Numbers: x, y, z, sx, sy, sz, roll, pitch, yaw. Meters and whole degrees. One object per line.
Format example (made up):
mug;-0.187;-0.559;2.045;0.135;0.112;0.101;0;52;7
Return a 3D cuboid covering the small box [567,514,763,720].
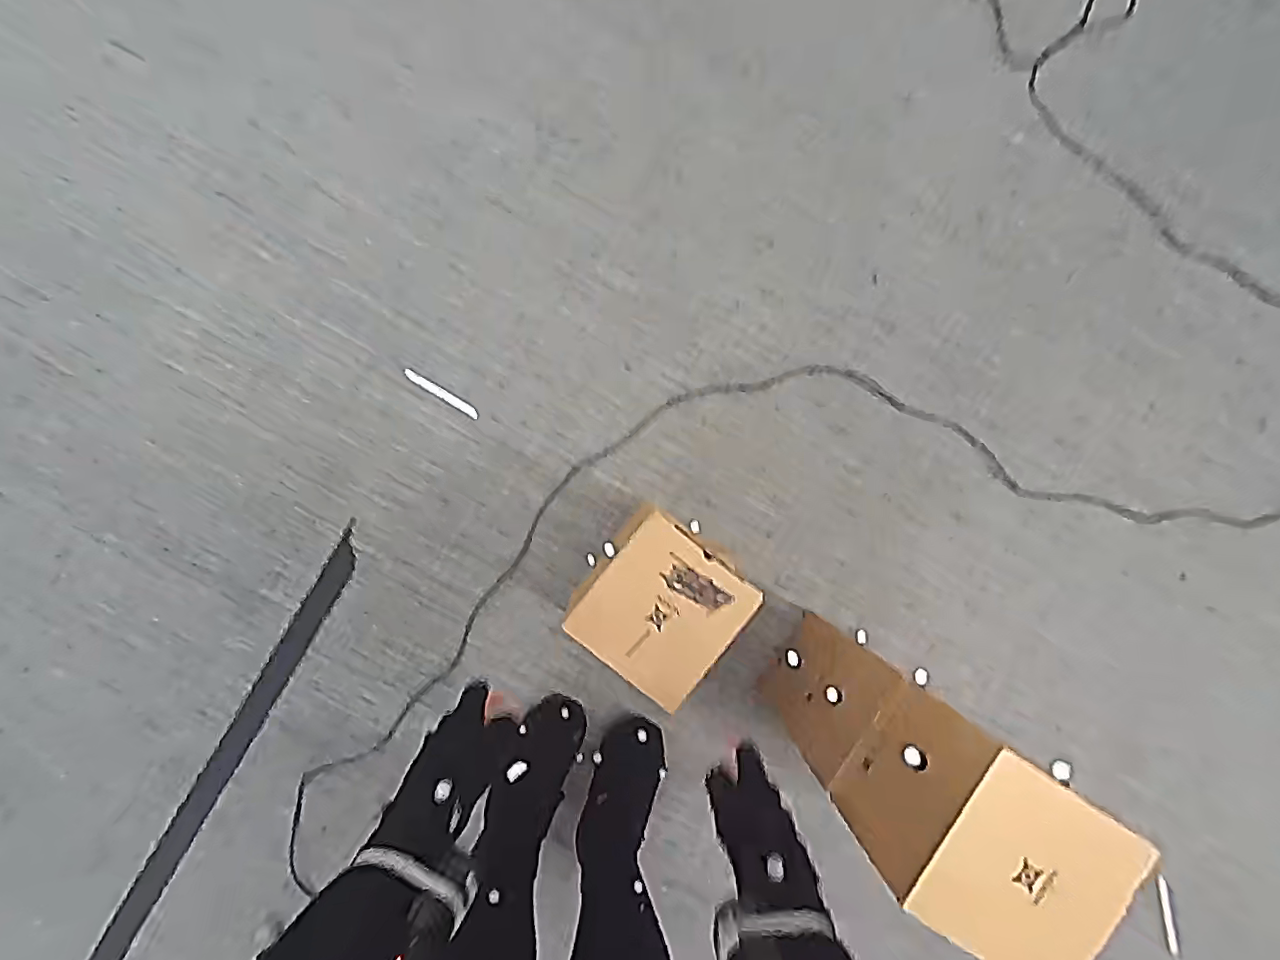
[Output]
small box;0.026;0.160;0.703;0.168;0.176;0.179;39;90;-2

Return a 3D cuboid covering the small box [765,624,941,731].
small box;0.329;0.355;0.877;0.179;0.176;0.168;34;90;-2

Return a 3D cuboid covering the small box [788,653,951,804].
small box;0.326;0.353;0.712;0.179;0.176;0.168;36;89;-2

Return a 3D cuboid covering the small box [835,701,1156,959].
small box;0.334;0.355;0.549;0.179;0.176;0.168;34;89;-2

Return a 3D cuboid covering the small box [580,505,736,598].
small box;0.026;0.157;0.867;0.168;0.176;0.179;37;89;-2
